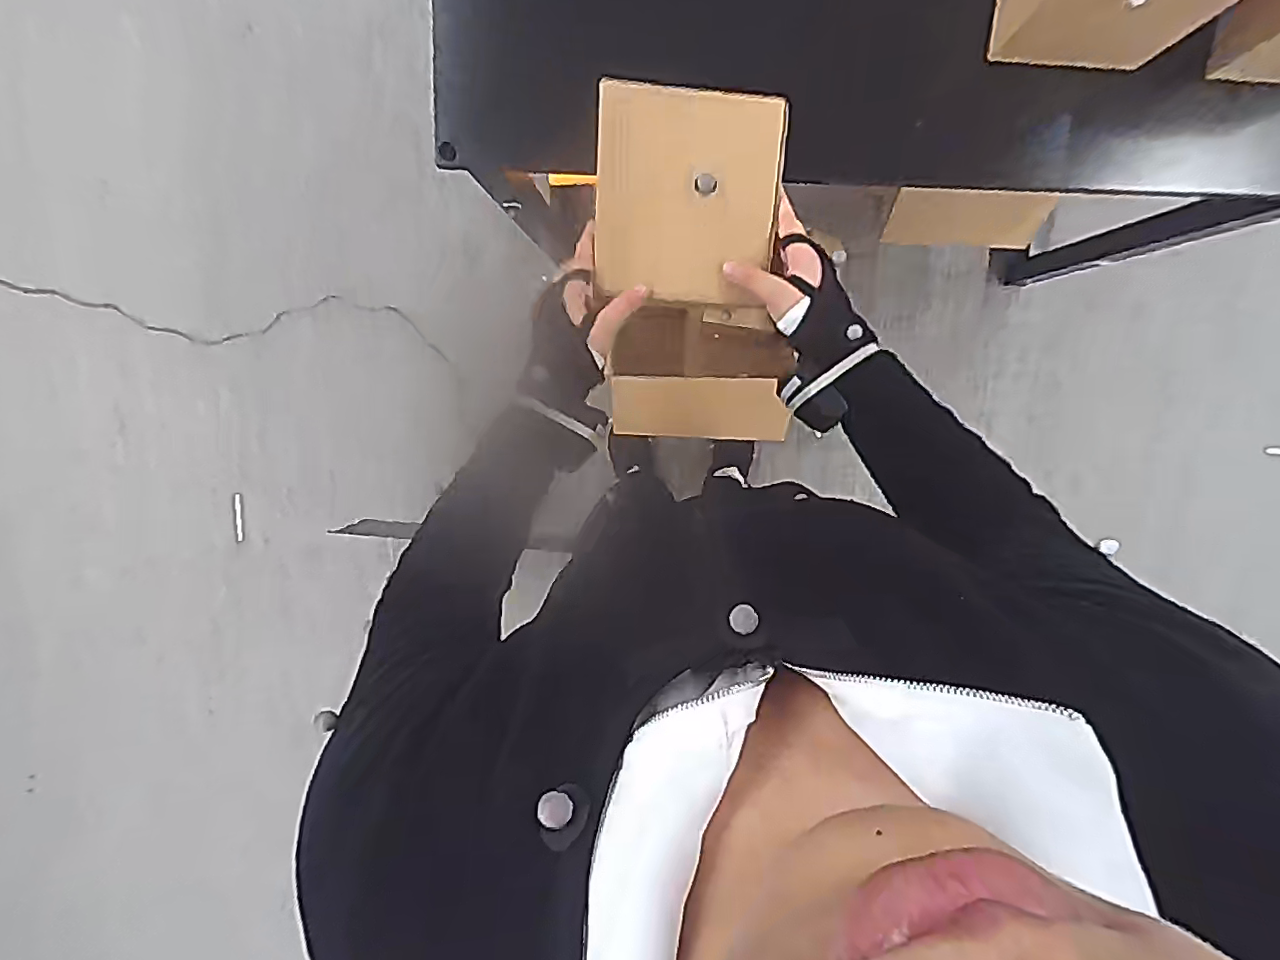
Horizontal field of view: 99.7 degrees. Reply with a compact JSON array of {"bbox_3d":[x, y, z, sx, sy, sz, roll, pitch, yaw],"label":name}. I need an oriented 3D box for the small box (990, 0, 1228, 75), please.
[{"bbox_3d":[0.499,-0.550,0.549,0.179,0.176,0.168,5,100,1],"label":"small box"}]

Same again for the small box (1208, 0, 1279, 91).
[{"bbox_3d":[0.743,-0.530,0.542,0.168,0.176,0.179,5,100,2],"label":"small box"}]
